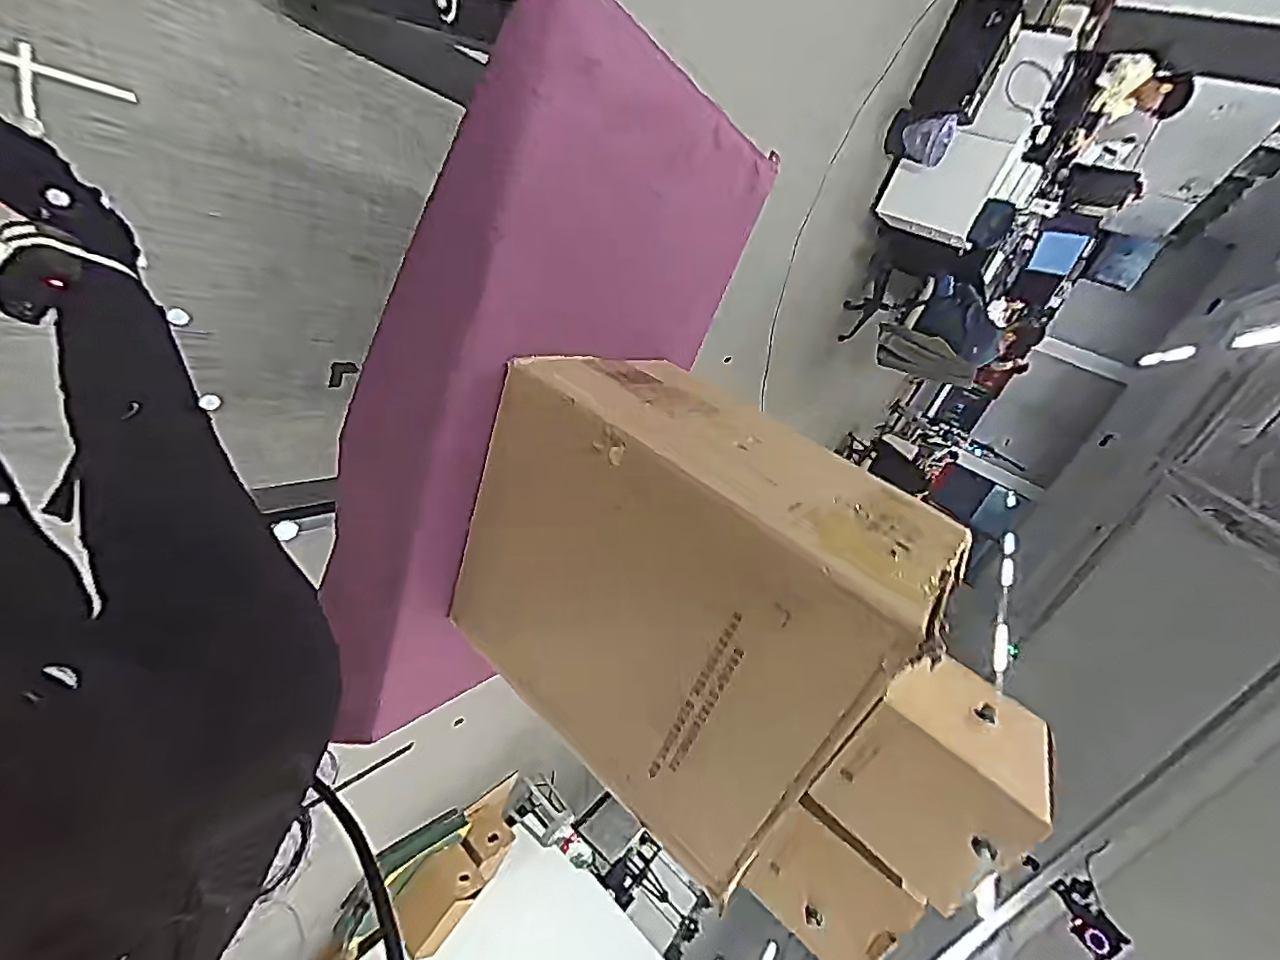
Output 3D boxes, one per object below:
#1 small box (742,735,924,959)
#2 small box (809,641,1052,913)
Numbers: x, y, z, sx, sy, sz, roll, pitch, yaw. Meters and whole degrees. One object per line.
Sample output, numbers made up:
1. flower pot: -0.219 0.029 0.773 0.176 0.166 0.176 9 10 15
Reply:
1. small box: 0.262 0.491 0.728 0.179 0.176 0.168 -12 131 -58
2. small box: 0.323 0.319 0.619 0.179 0.176 0.168 -18 136 -55
